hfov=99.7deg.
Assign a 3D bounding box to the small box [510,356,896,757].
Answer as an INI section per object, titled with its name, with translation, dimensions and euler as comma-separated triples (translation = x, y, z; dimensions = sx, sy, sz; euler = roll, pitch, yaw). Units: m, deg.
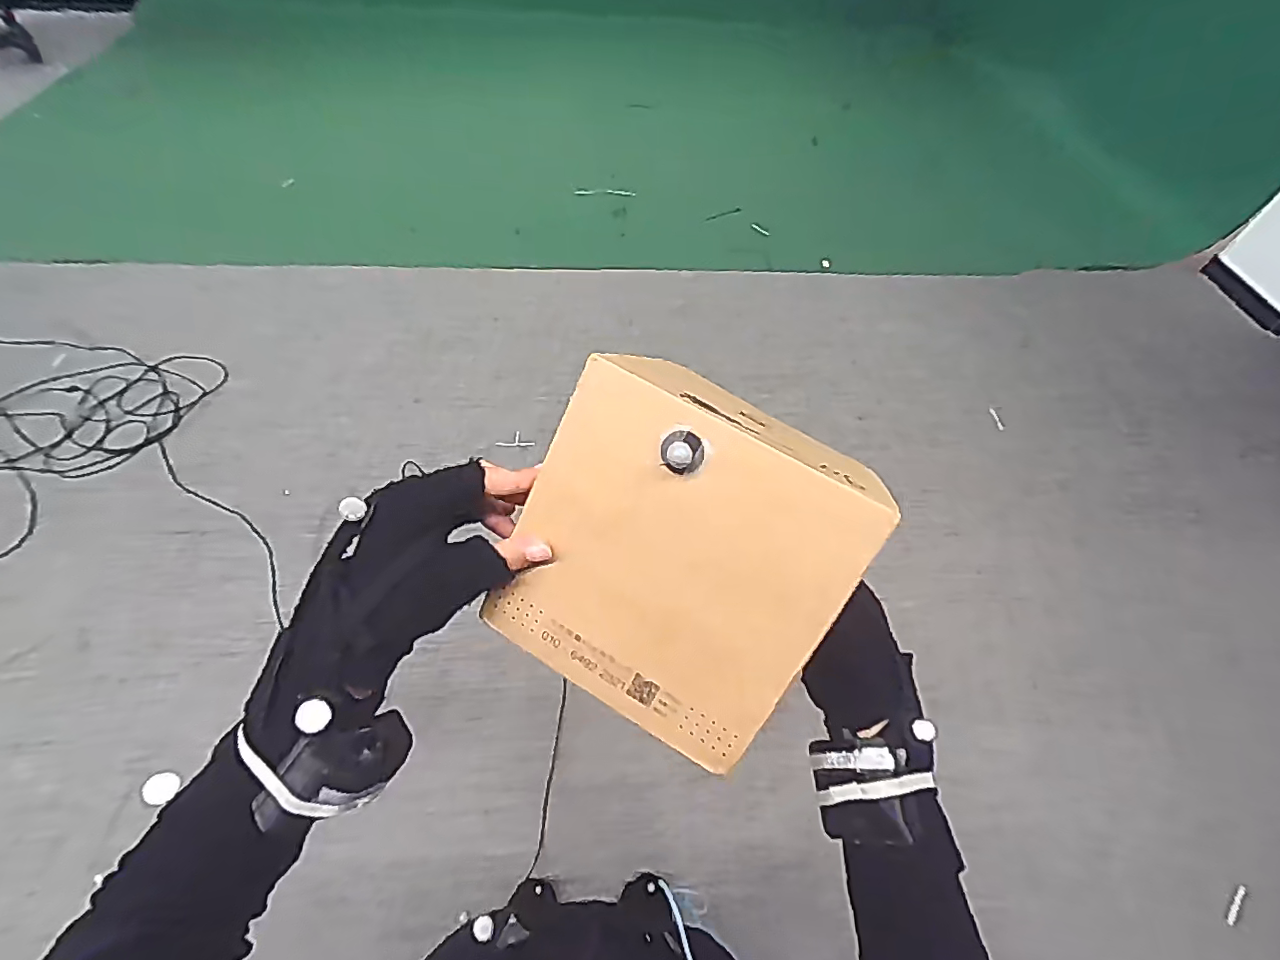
[small box]
translation = 0.039, 0.035, 0.366
dimensions = 0.168, 0.176, 0.179
euler = 29, 16, 11
